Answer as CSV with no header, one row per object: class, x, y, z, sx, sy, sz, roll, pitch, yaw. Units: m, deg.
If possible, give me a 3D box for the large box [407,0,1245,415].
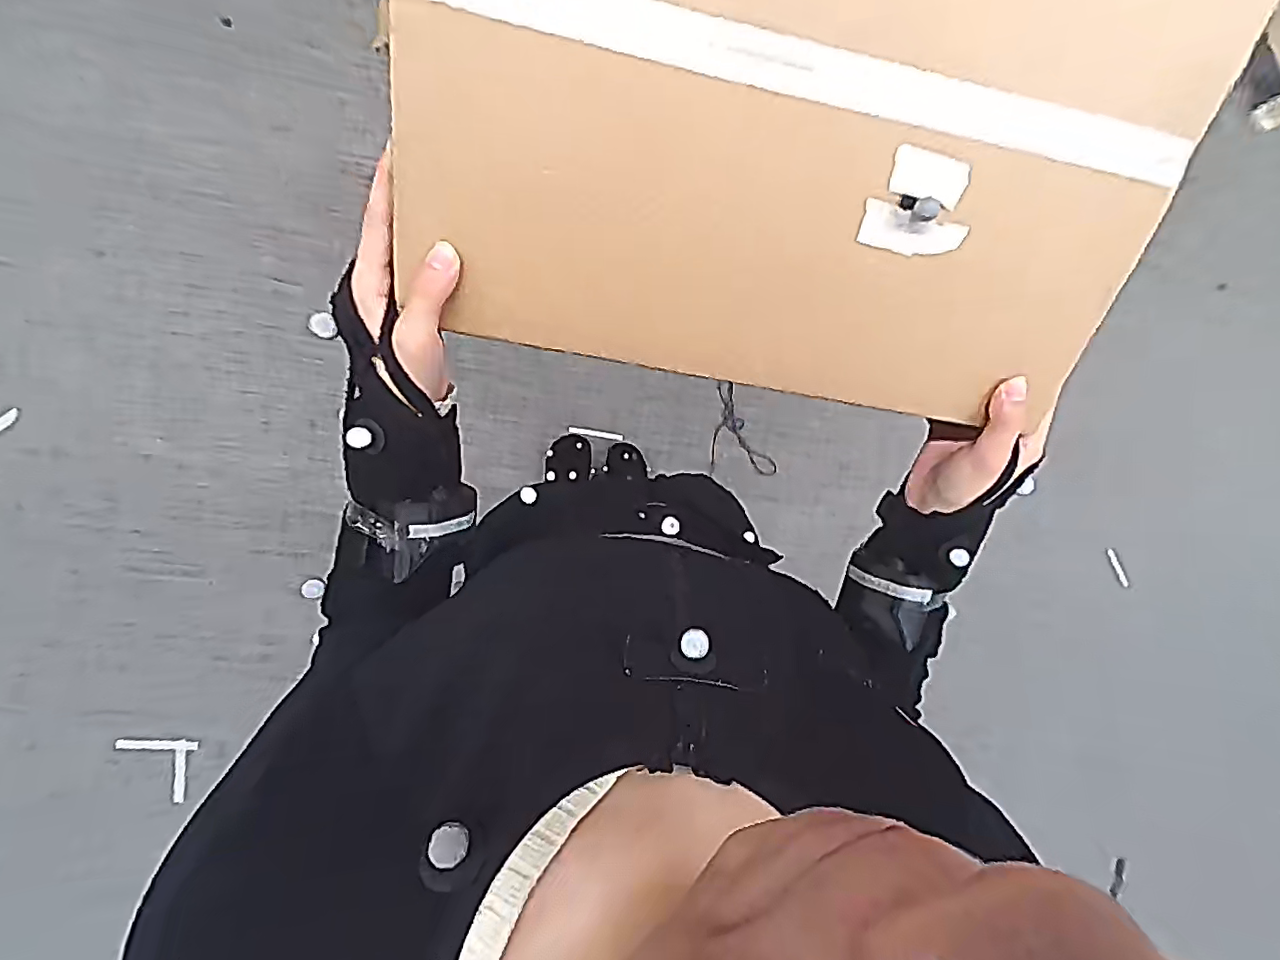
large box,0.077,-0.266,0.402,0.408,0.320,0.320,7,117,-8
